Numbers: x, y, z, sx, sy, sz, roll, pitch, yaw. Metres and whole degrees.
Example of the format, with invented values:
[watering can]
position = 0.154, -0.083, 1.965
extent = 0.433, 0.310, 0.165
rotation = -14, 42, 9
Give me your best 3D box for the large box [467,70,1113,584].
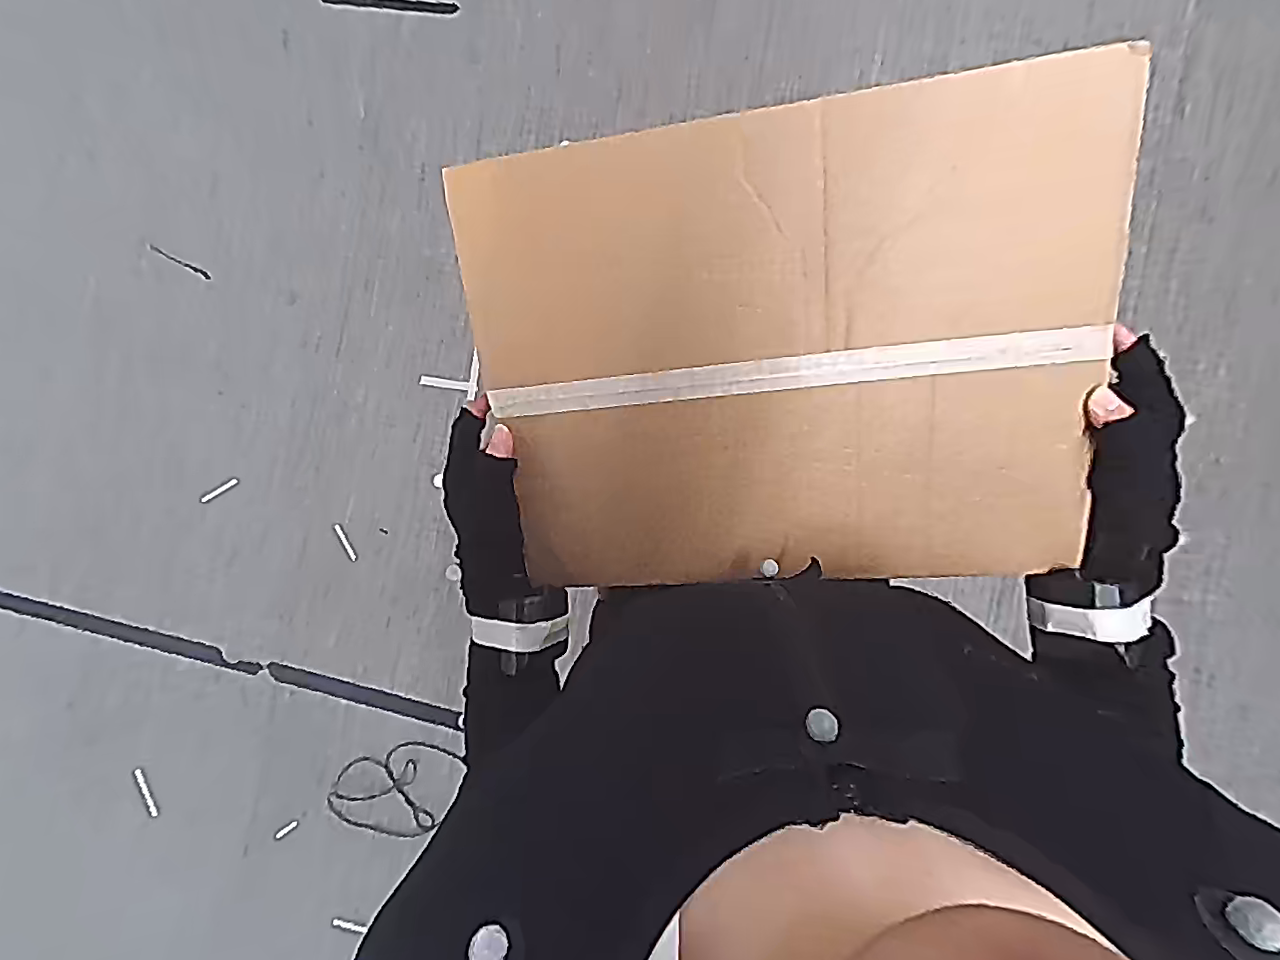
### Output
[large box]
position = 0.112, -0.117, 0.522
extent = 0.408, 0.320, 0.320
rotation = -4, 109, 10
